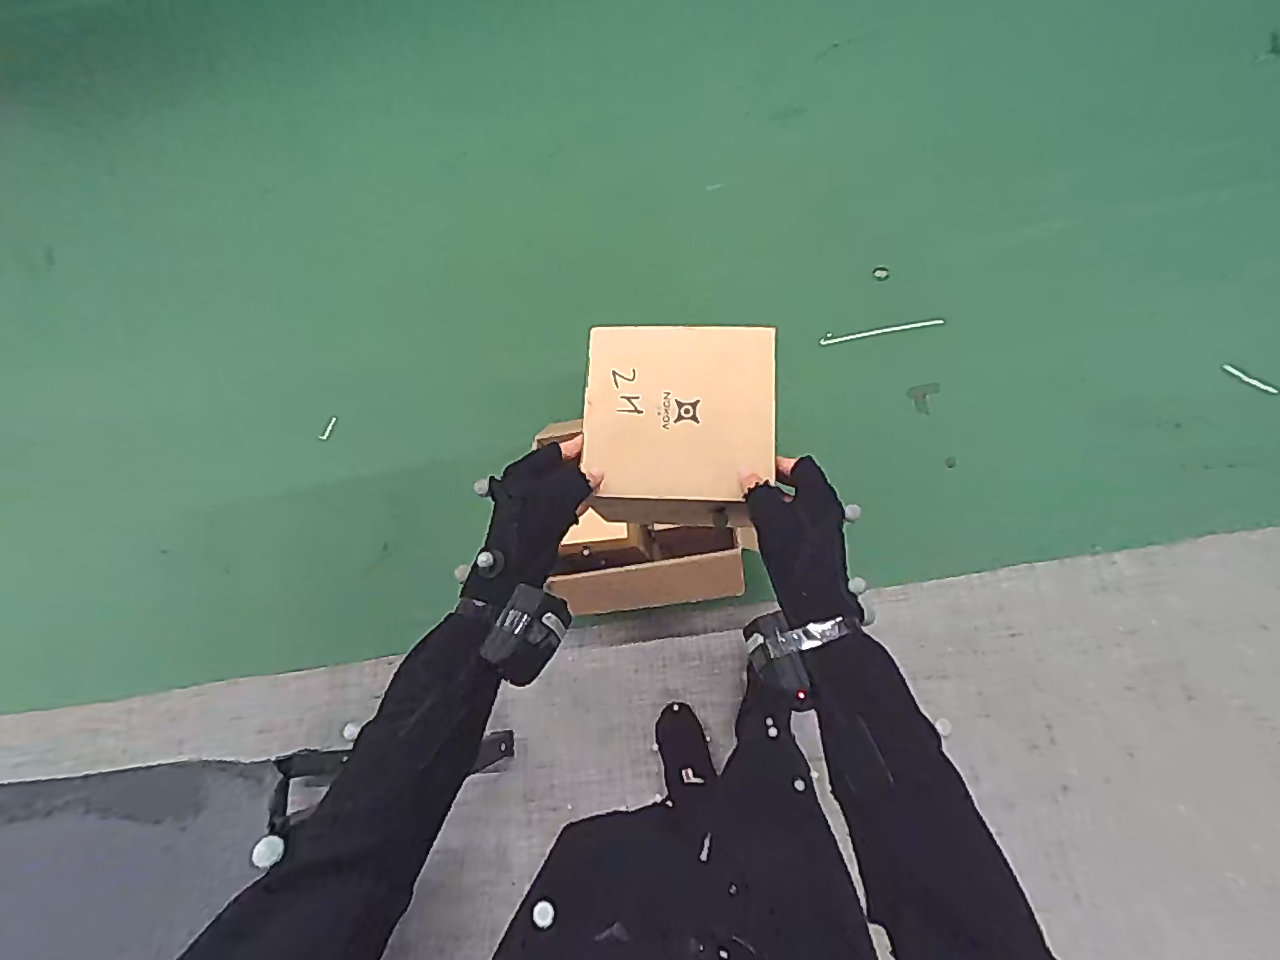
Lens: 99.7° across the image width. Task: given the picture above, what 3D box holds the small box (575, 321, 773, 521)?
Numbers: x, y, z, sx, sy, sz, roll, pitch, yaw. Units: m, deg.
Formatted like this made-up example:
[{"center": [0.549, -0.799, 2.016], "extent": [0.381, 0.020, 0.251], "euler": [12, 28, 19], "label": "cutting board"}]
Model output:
[{"center": [0.039, -0.051, 0.567], "extent": [0.179, 0.176, 0.168], "euler": [1, 77, 7], "label": "small box"}]
